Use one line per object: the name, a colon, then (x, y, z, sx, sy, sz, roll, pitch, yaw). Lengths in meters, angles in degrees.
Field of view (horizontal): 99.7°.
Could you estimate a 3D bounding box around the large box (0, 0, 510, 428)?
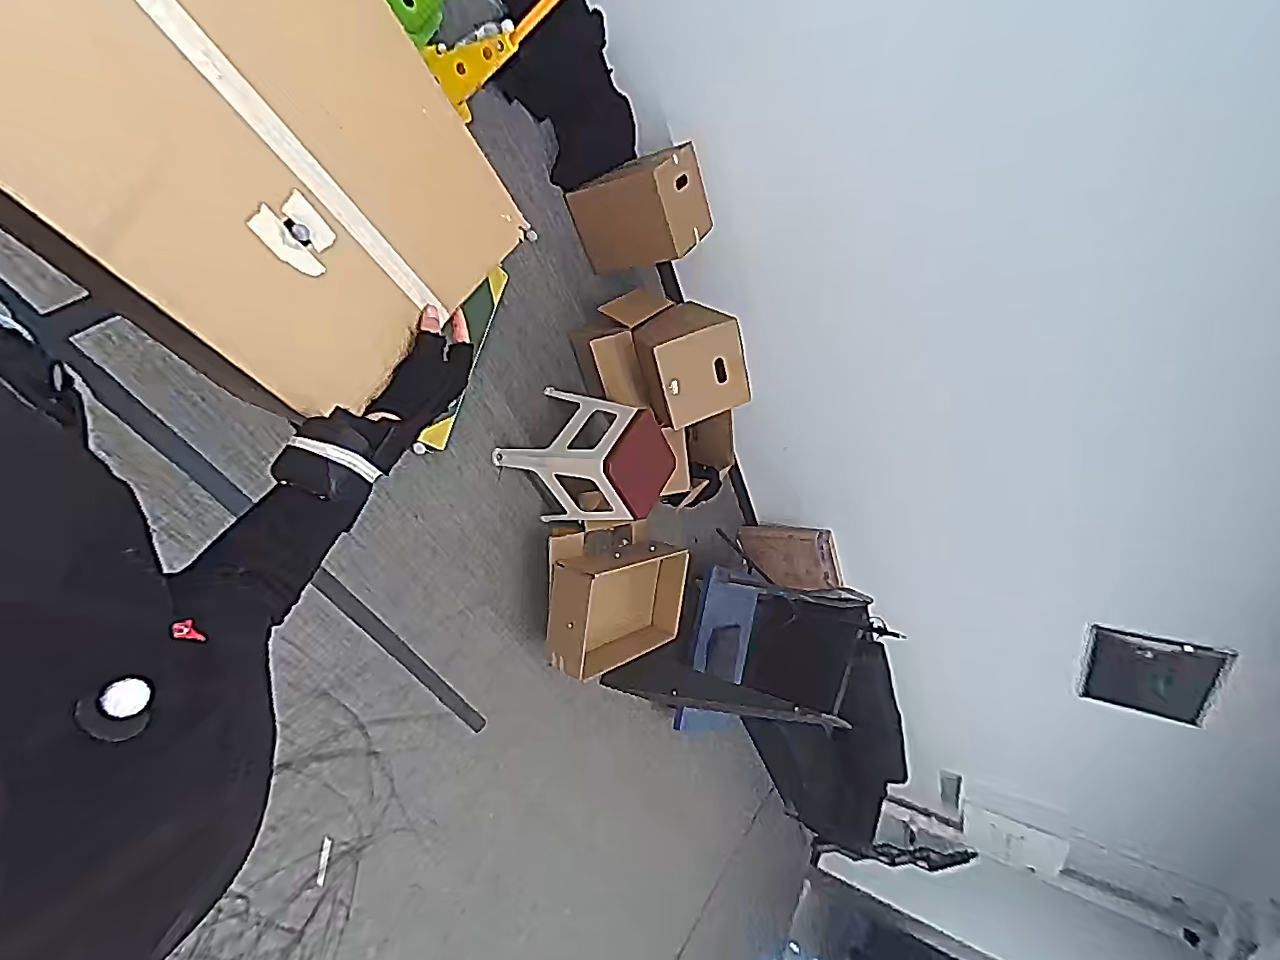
large box: (-0.418, -0.309, 0.512, 0.320, 0.320, 0.408, -57, 140, -19)
